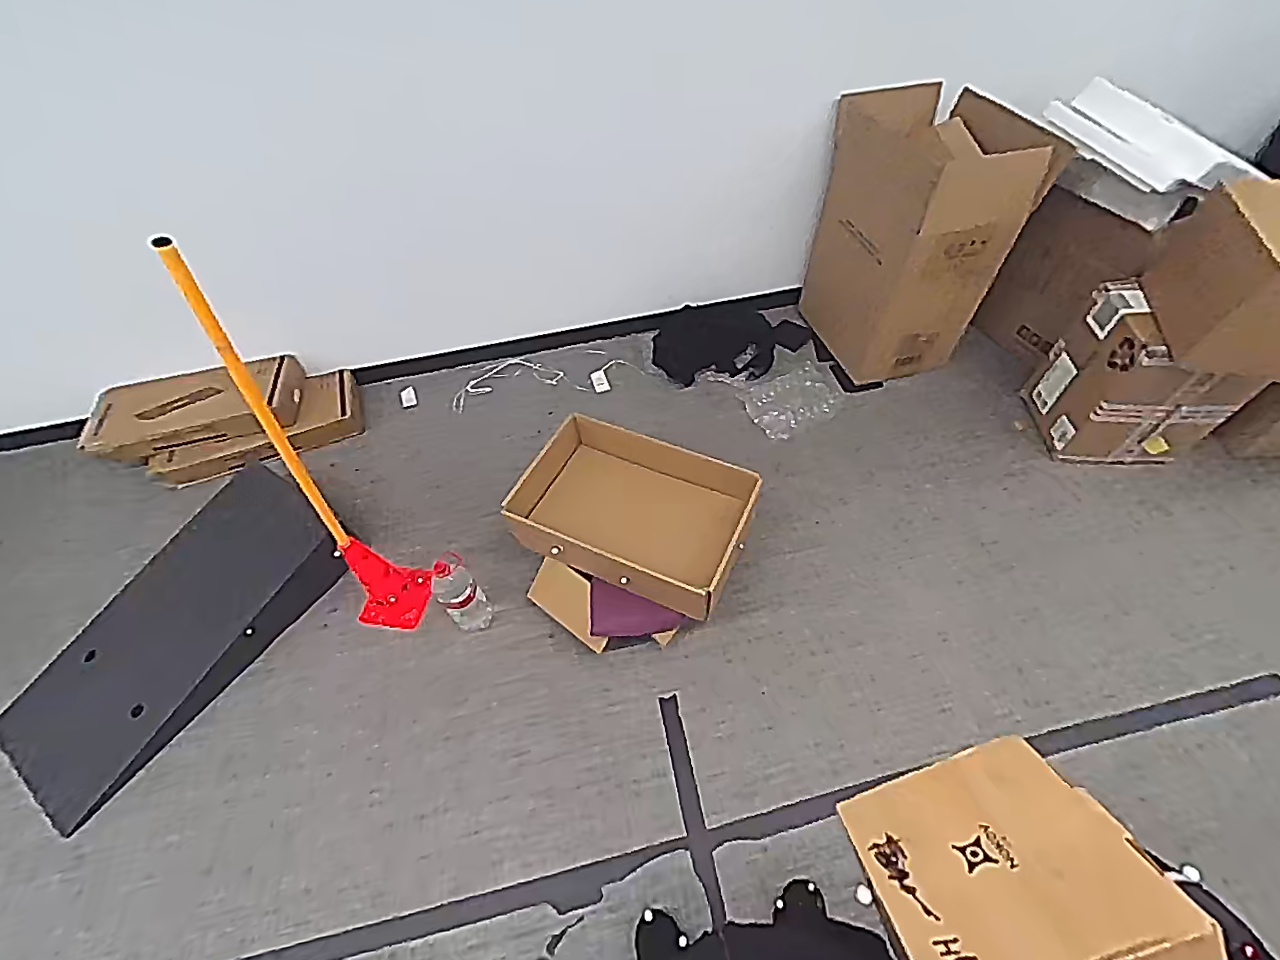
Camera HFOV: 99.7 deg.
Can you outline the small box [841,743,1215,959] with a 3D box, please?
[{"bbox_3d":[0.294,0.359,0.430,0.179,0.176,0.168,-23,12,3],"label":"small box"}]
